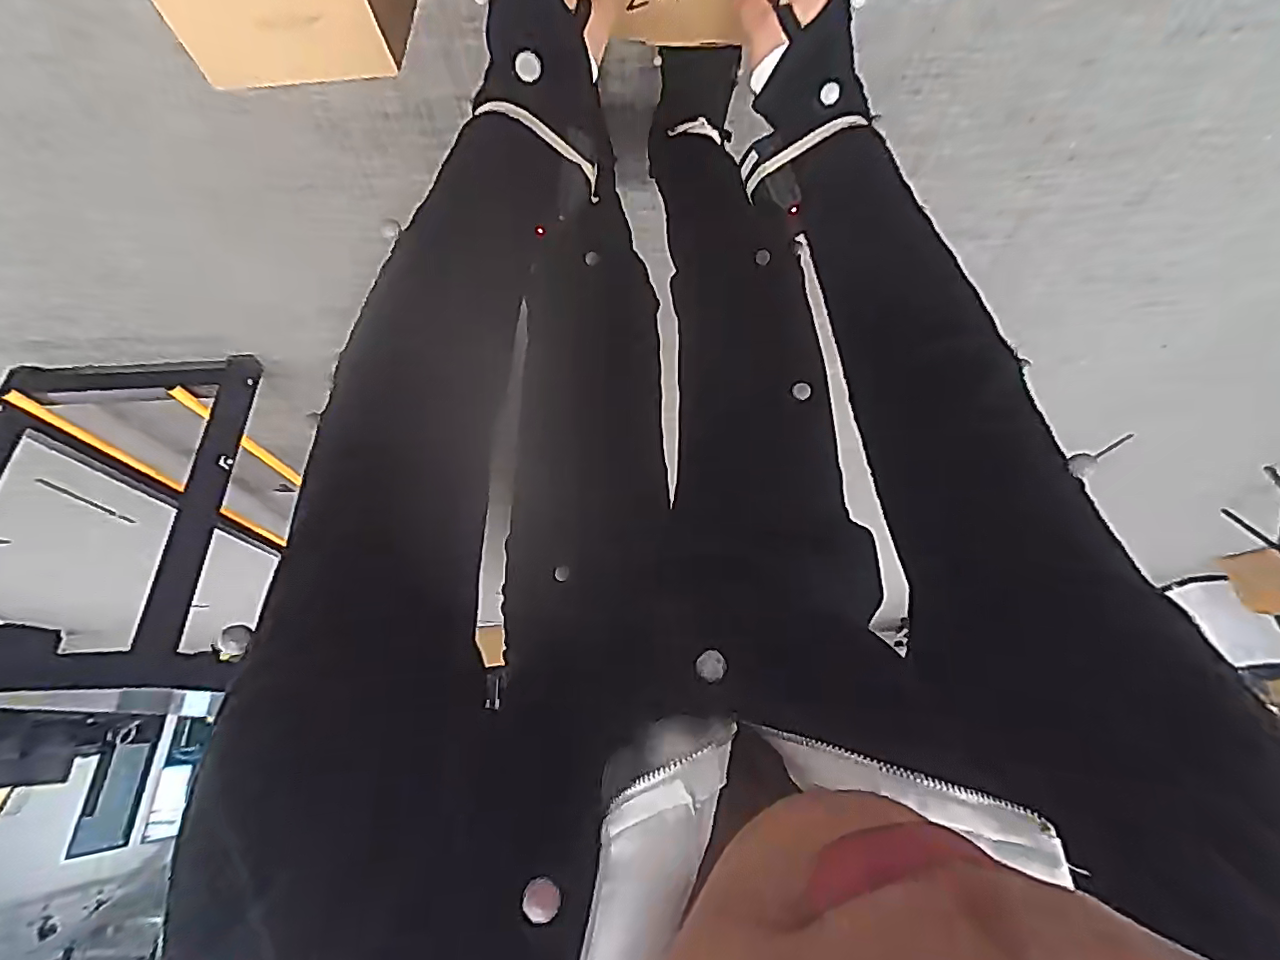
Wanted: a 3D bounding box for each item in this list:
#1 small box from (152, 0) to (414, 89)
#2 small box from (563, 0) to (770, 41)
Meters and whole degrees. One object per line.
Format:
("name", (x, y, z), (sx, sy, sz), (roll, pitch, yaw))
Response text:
("small box", (-0.295, -0.454, 0.422), (0.168, 0.176, 0.179), (-3, 157, 3))
("small box", (0.021, -0.471, 0.394), (0.168, 0.176, 0.179), (-1, 160, -3))
